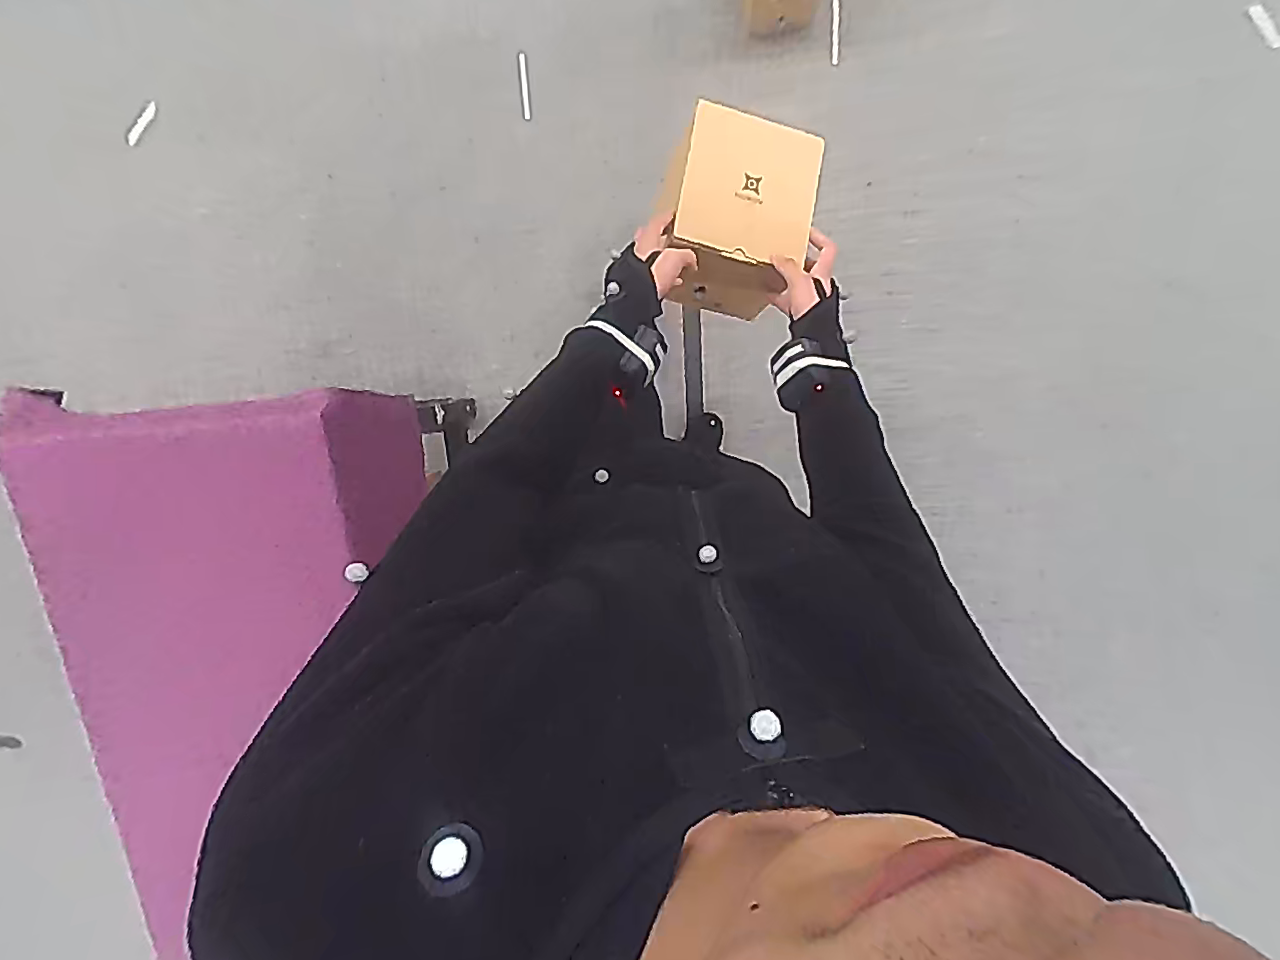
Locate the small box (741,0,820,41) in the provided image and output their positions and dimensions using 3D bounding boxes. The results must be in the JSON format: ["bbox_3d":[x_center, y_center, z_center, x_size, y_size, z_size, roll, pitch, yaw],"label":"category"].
[{"bbox_3d":[0.327,-1.187,1.269,0.168,0.176,0.179,-6,102,5],"label":"small box"}]

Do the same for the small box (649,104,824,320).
[{"bbox_3d":[0.118,-0.340,0.722,0.168,0.176,0.179,12,86,-10],"label":"small box"}]
